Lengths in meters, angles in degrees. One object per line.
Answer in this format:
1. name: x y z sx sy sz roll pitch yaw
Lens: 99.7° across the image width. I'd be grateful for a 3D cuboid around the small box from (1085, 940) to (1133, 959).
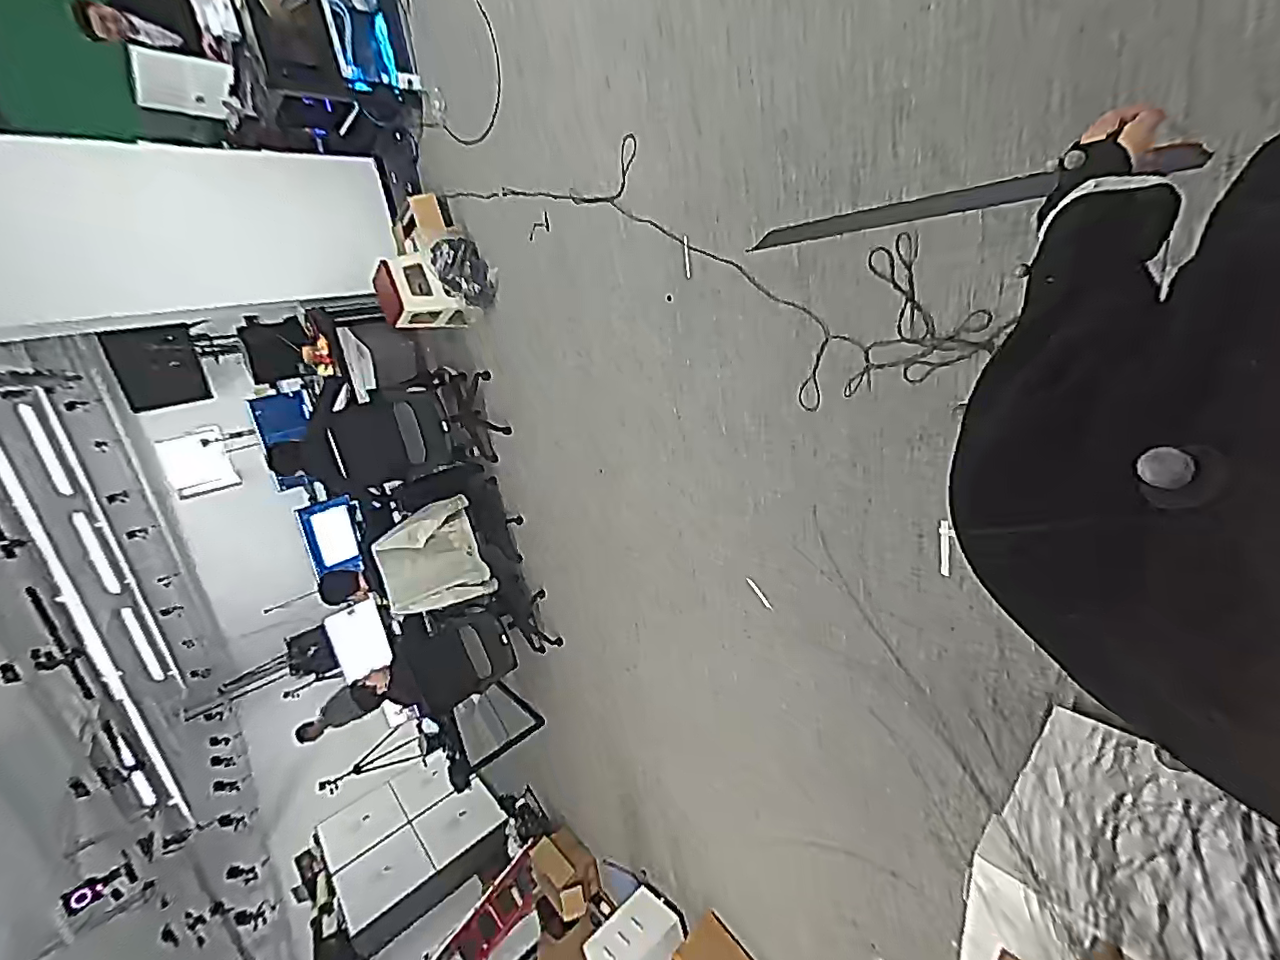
1. small box: 0.816 0.929 0.889 0.168 0.176 0.179 18 122 46
